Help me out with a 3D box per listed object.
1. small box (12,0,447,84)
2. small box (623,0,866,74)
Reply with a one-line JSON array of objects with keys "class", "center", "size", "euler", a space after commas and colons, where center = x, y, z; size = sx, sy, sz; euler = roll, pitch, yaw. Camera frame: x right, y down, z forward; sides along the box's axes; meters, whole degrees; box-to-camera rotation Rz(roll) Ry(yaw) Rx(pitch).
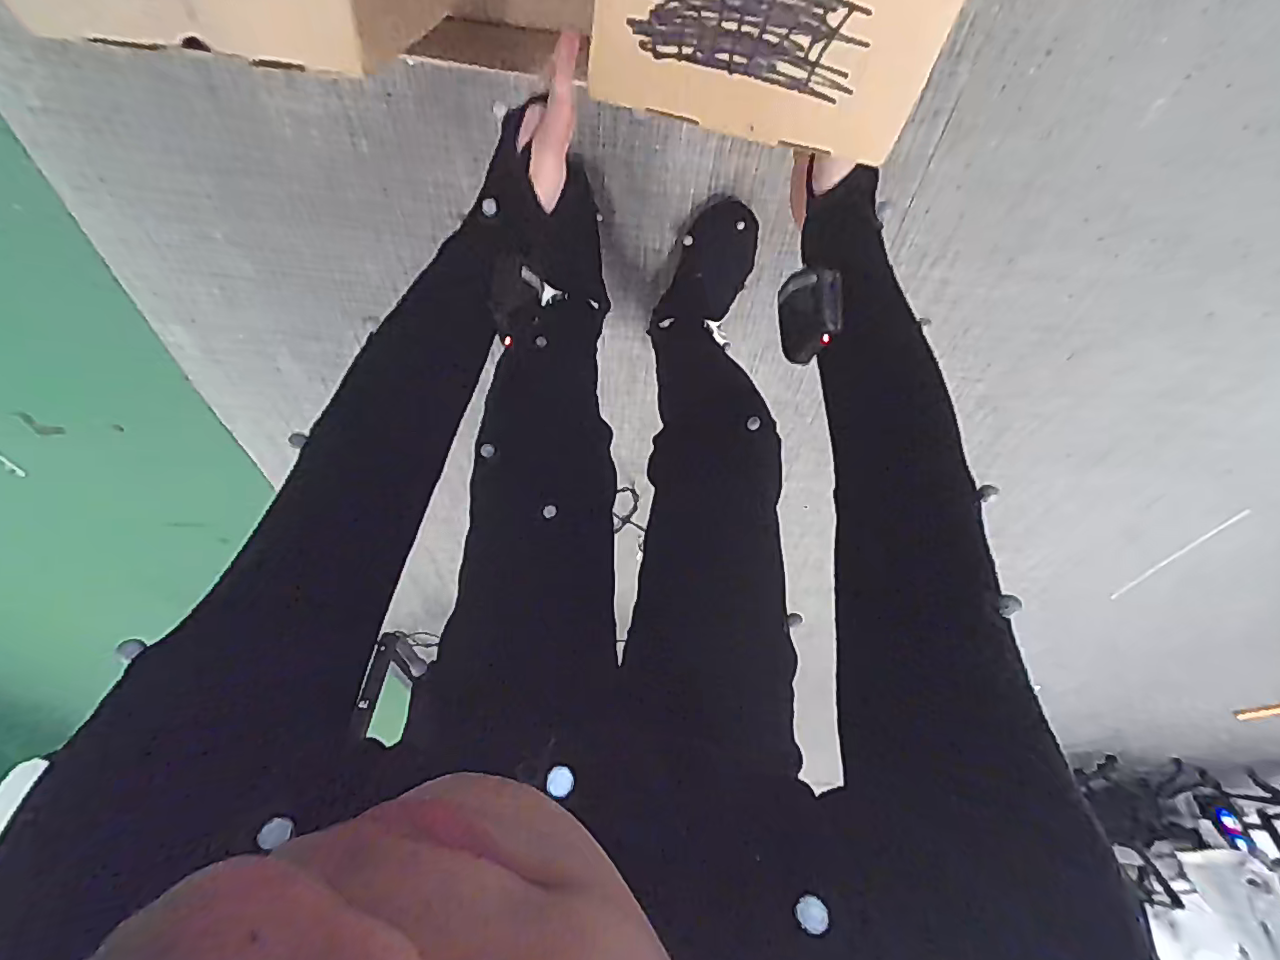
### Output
[{"class": "small box", "center": [-0.199, -0.323, 0.250], "size": [0.168, 0.176, 0.179], "euler": [5, 140, -4]}, {"class": "small box", "center": [0.081, -0.425, 0.376], "size": [0.168, 0.176, 0.179], "euler": [6, 142, -5]}]
